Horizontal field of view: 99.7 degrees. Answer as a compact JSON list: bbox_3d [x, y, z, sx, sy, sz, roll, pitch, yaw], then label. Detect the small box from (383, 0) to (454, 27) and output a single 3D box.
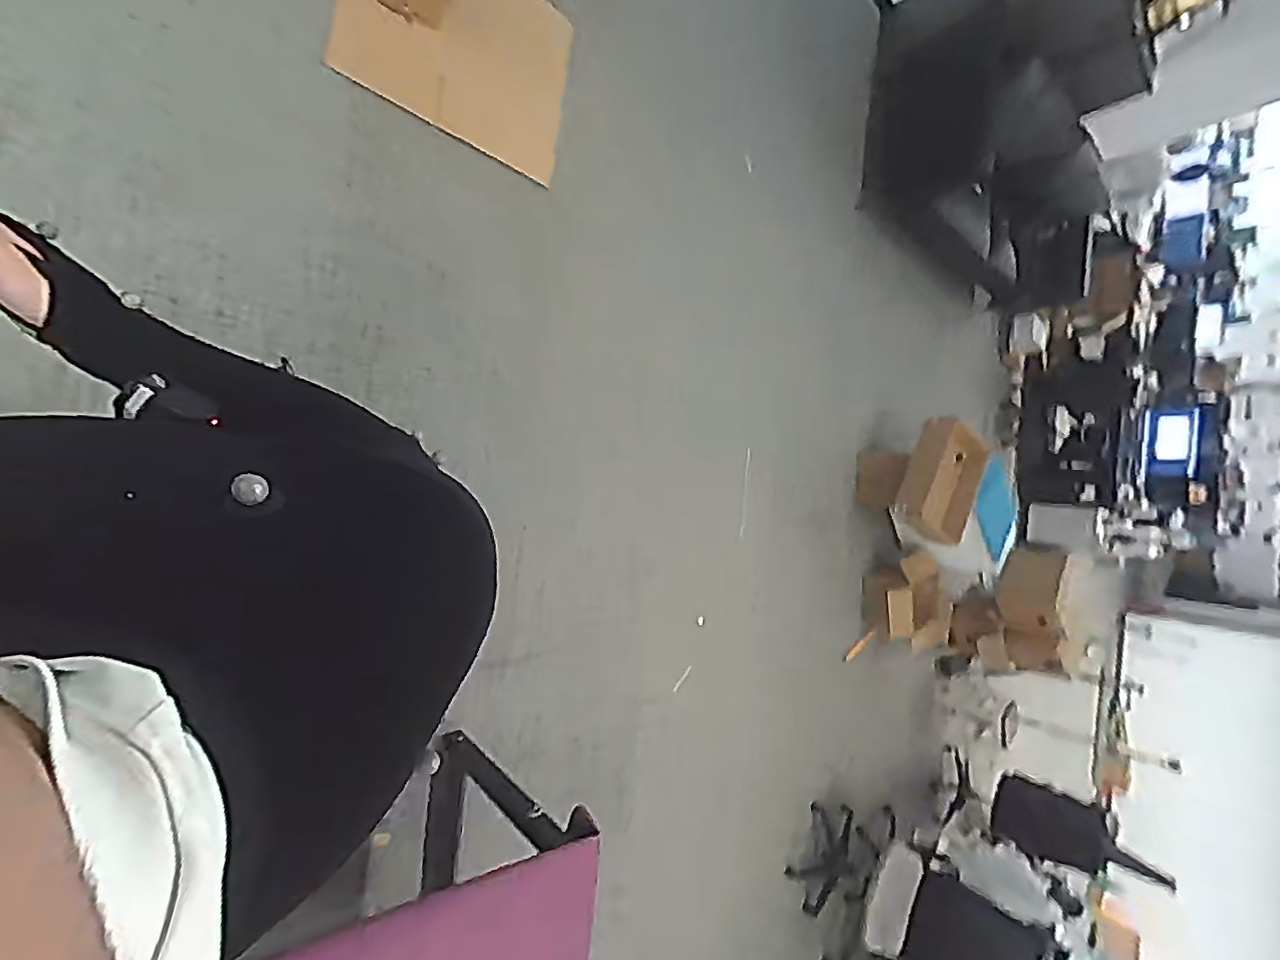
[{"bbox_3d":[-0.605,-1.401,1.465,0.168,0.176,0.179,0,93,-40],"label":"small box"}]
